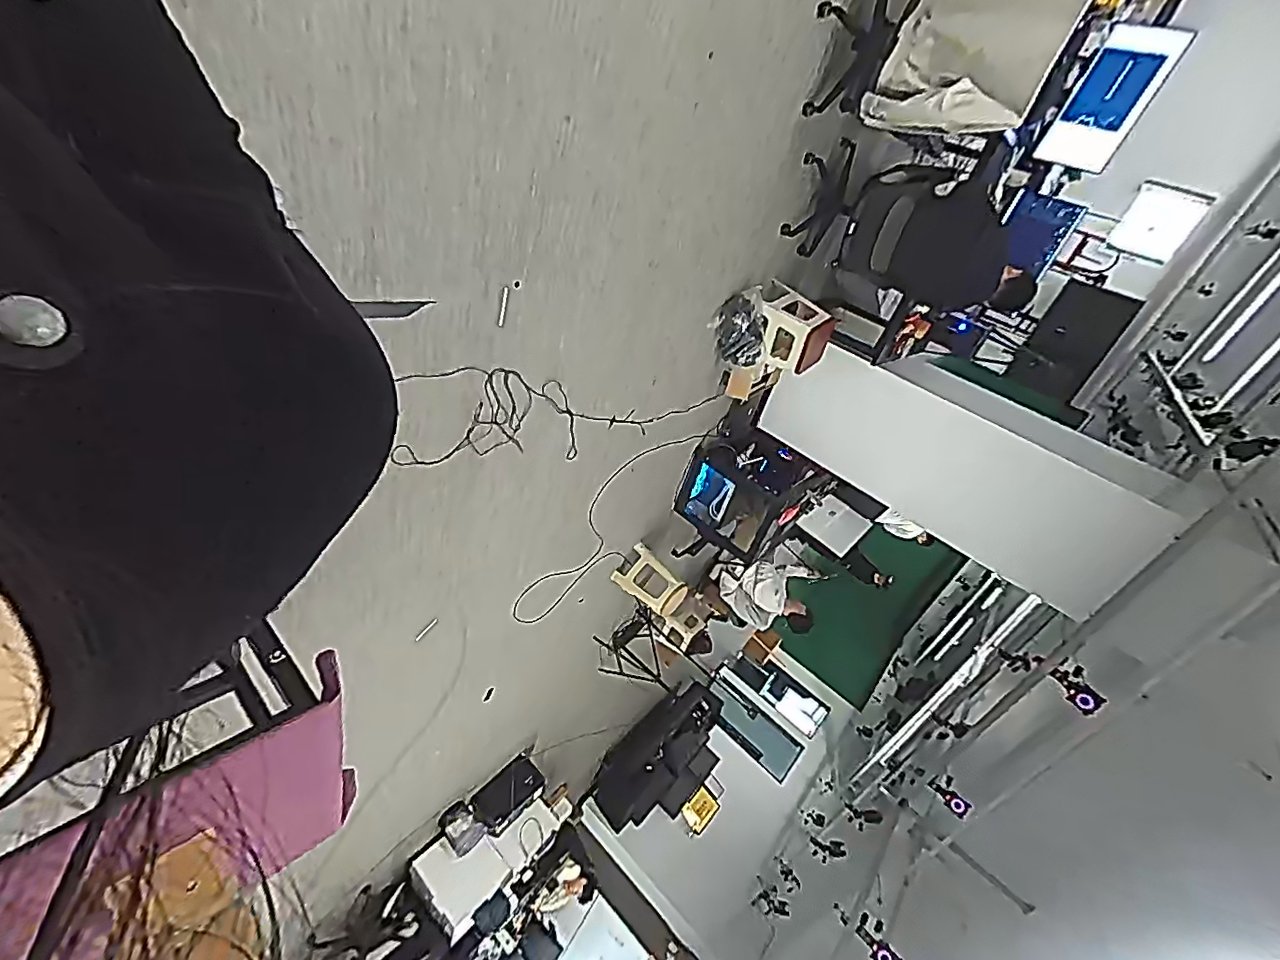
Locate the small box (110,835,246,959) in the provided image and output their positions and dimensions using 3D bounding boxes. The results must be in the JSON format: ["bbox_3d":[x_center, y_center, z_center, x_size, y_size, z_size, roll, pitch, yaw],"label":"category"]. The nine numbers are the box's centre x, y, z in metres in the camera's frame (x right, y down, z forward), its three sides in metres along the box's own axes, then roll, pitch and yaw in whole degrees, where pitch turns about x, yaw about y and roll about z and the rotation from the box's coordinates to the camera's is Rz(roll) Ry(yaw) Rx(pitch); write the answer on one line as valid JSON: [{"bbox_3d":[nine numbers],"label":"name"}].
[{"bbox_3d":[-0.919,0.863,1.085,0.168,0.176,0.179,-22,141,-48],"label":"small box"}]

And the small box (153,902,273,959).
[{"bbox_3d":[-0.801,0.955,1.019,0.168,0.176,0.179,-23,142,-48],"label":"small box"}]
